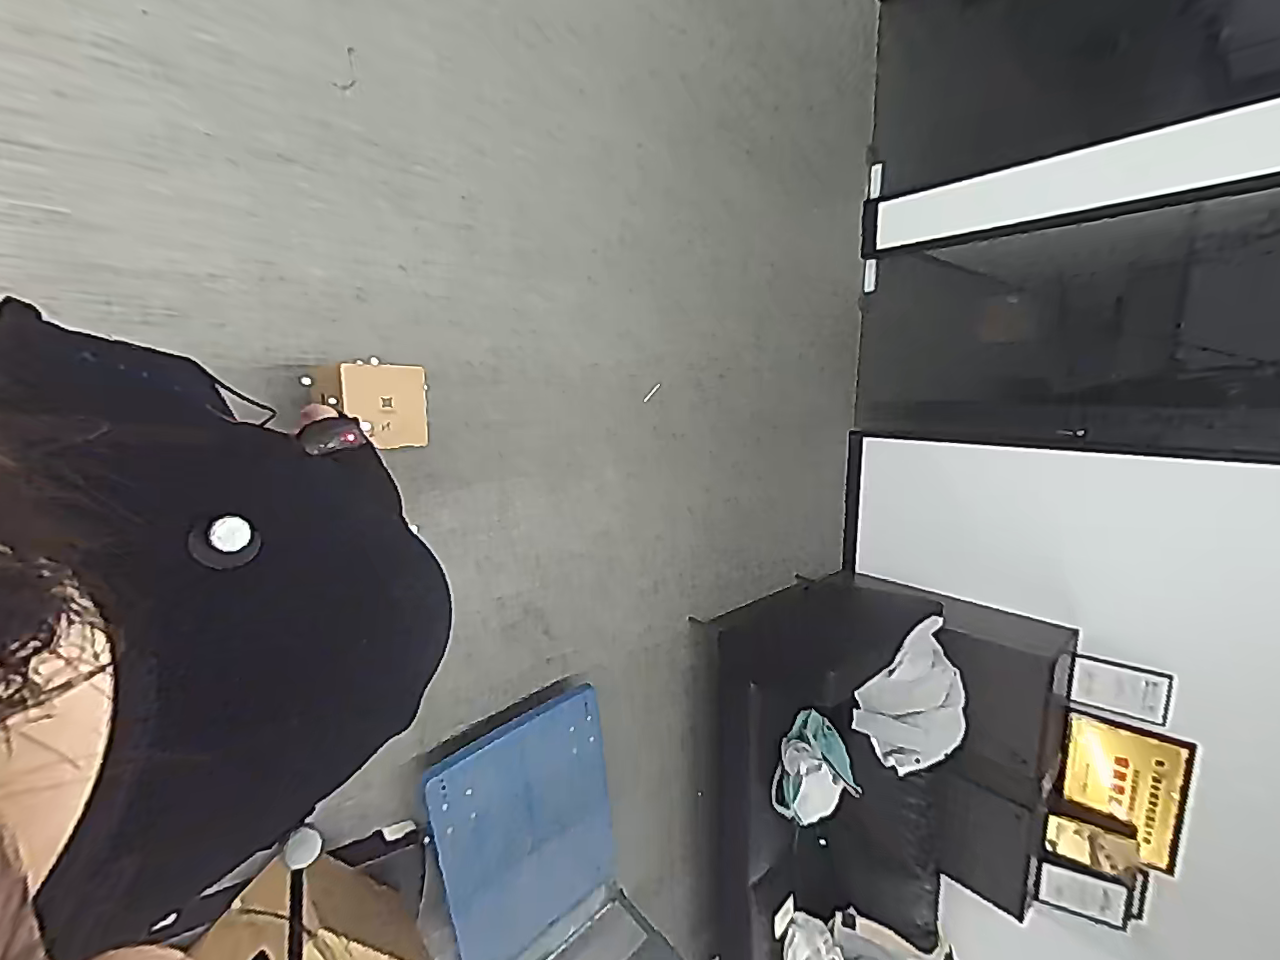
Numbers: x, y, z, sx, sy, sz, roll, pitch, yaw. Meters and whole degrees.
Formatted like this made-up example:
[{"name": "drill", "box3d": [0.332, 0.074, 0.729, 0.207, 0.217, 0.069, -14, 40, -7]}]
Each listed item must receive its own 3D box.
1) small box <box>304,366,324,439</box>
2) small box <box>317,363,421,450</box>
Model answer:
[{"name": "small box", "box3d": [-0.700, -0.187, 1.311, 0.179, 0.176, 0.168, -8, 103, -42]}, {"name": "small box", "box3d": [-0.595, -0.162, 1.186, 0.168, 0.176, 0.179, -7, 103, -41]}]
